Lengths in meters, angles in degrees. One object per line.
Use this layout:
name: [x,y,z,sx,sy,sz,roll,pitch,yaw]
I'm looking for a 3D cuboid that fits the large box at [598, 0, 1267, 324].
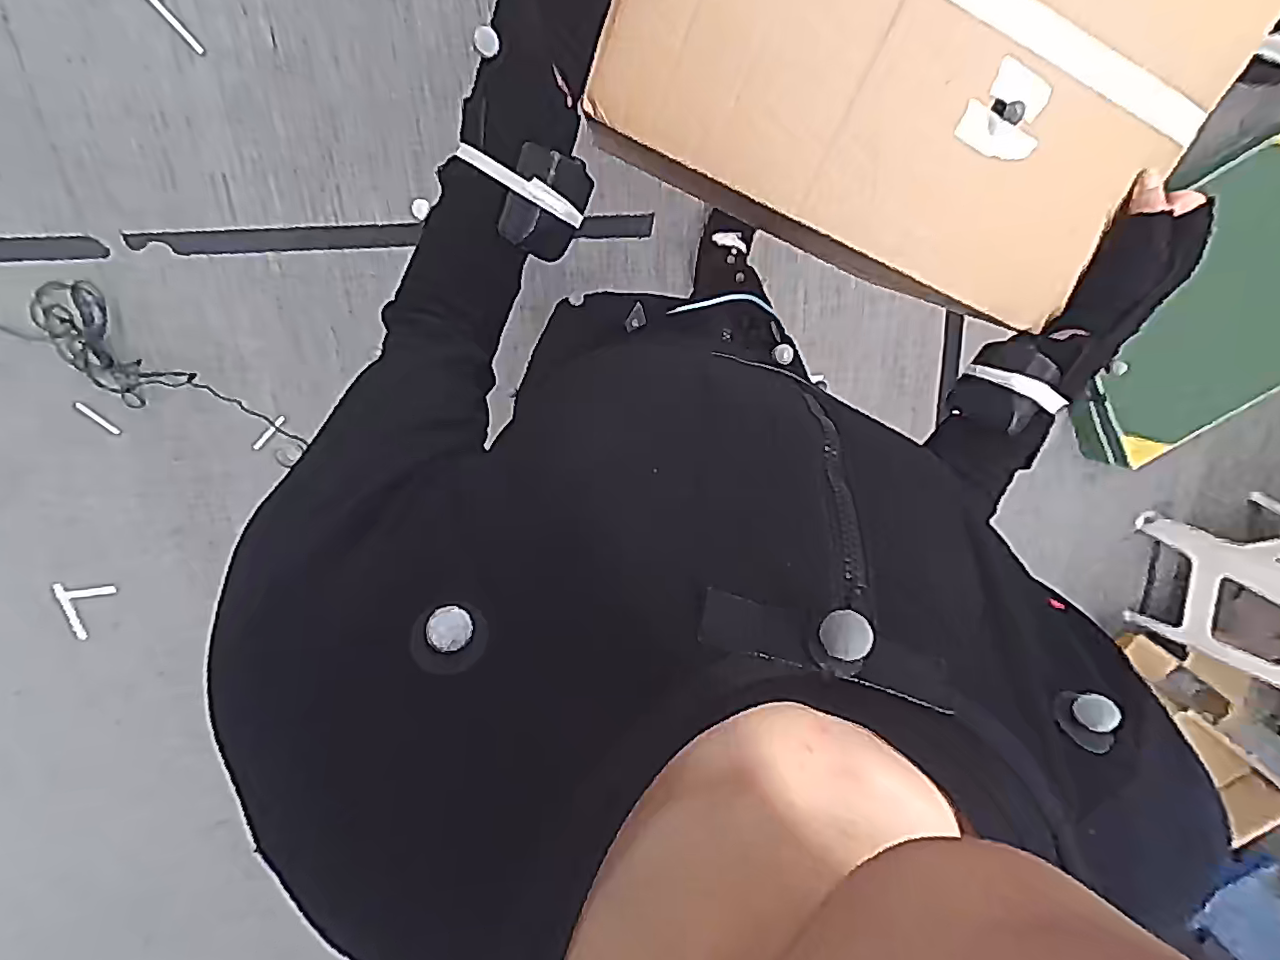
large box: [0.197,-0.387,0.486,0.408,0.320,0.320,19,116,-14]
